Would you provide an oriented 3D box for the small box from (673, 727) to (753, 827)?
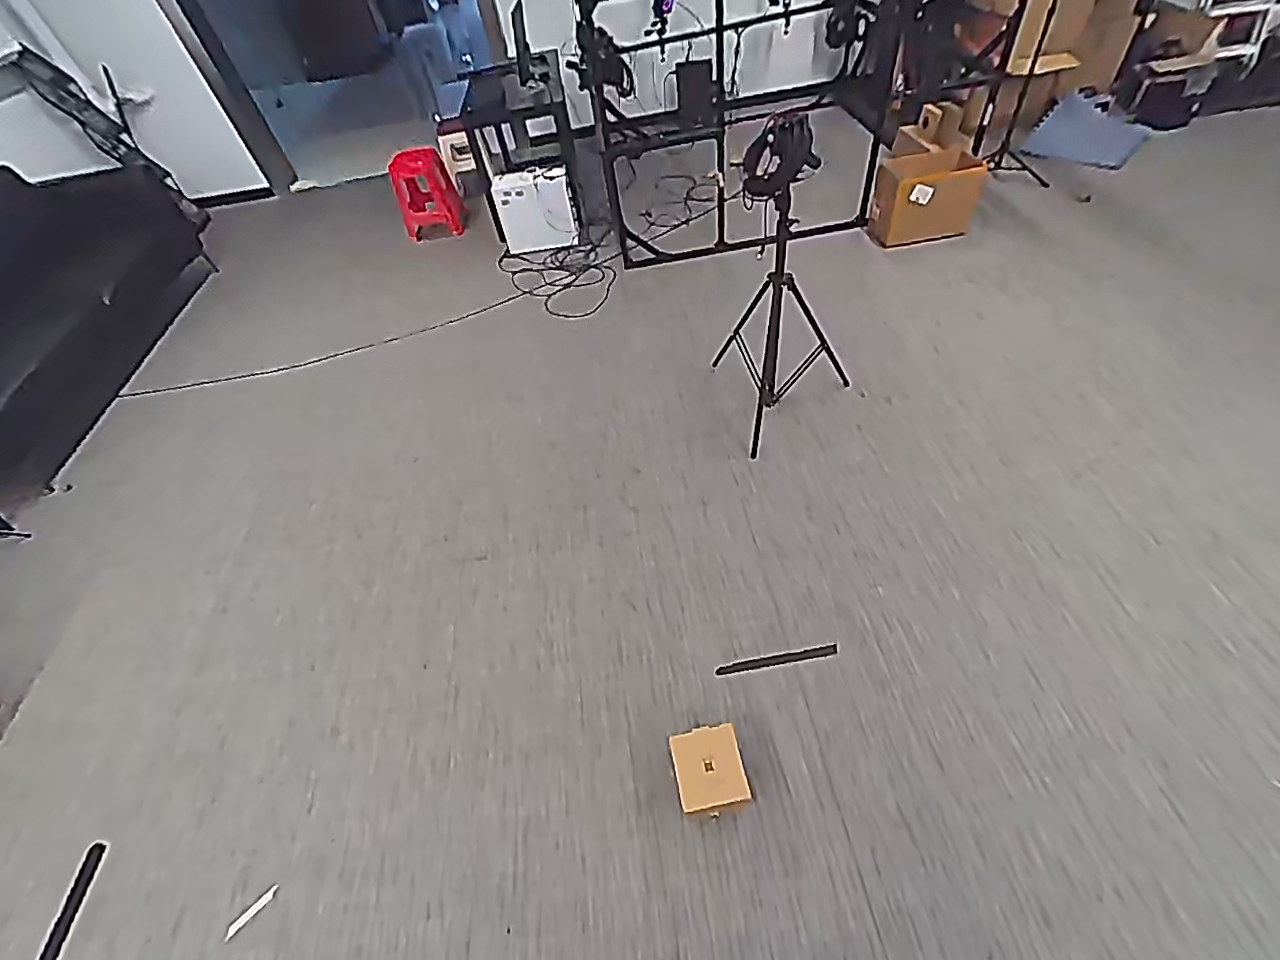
[{"bbox_3d":[0.183,0.758,1.379,0.168,0.176,0.179,-12,49,0],"label":"small box"}]
